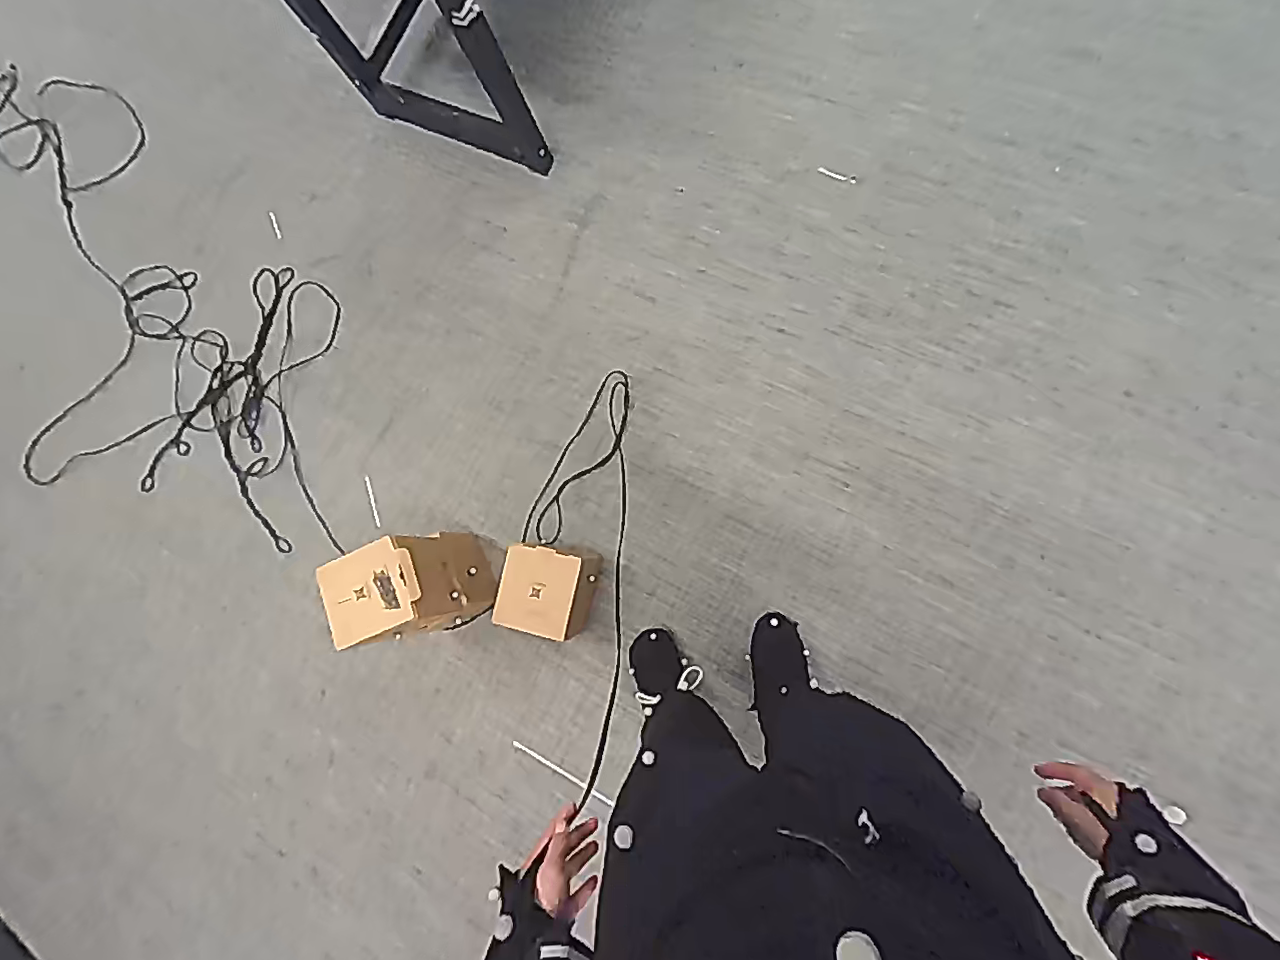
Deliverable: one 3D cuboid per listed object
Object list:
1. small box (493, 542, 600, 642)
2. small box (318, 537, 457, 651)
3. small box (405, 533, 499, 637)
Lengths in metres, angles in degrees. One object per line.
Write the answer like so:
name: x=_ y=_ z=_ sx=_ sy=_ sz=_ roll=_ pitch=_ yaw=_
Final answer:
small box: x=-0.196 y=0.240 z=1.193 sx=0.168 sy=0.176 sz=0.179 roll=11 pitch=85 yaw=13
small box: x=-0.490 y=0.220 z=1.079 sx=0.179 sy=0.176 sz=0.168 roll=-23 pitch=78 yaw=8
small box: x=-0.450 y=0.235 z=1.239 sx=0.168 sy=0.176 sz=0.179 roll=-28 pitch=78 yaw=6
